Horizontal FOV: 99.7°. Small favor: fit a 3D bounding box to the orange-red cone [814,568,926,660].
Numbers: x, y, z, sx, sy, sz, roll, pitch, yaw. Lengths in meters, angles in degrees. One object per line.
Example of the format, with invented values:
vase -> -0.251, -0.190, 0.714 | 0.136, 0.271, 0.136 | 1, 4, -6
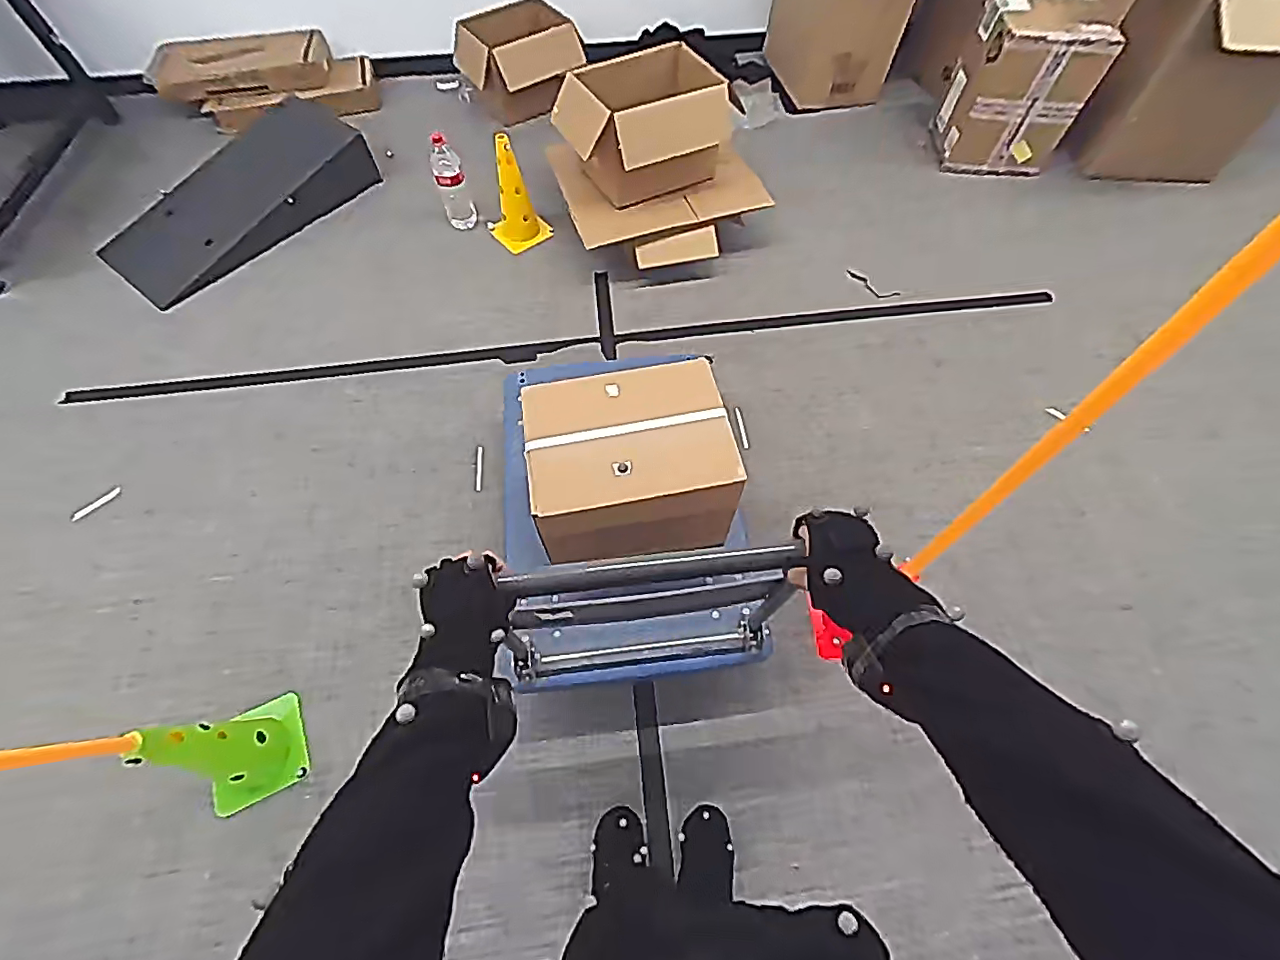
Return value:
orange-red cone -> 0.547, 0.272, 1.216 | 0.199, 0.360, 0.198 | 0, 61, 0
